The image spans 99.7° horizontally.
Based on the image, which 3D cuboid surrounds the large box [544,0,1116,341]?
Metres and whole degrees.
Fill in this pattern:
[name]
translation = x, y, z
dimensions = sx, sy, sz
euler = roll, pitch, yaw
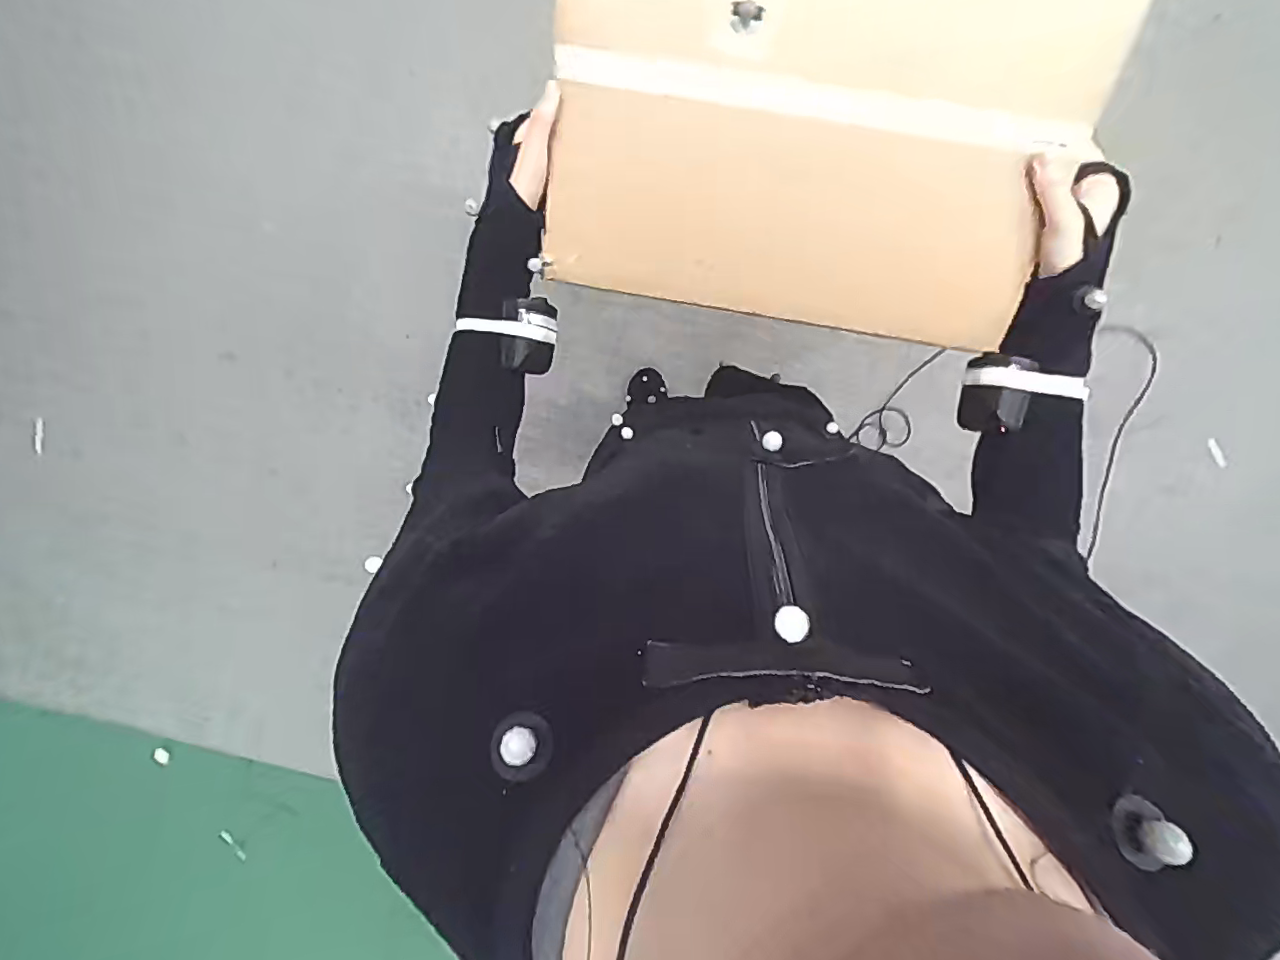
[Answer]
[large box]
translation = 0.144, -0.355, 0.559
dimensions = 0.408, 0.320, 0.320
euler = 11, 115, 1
